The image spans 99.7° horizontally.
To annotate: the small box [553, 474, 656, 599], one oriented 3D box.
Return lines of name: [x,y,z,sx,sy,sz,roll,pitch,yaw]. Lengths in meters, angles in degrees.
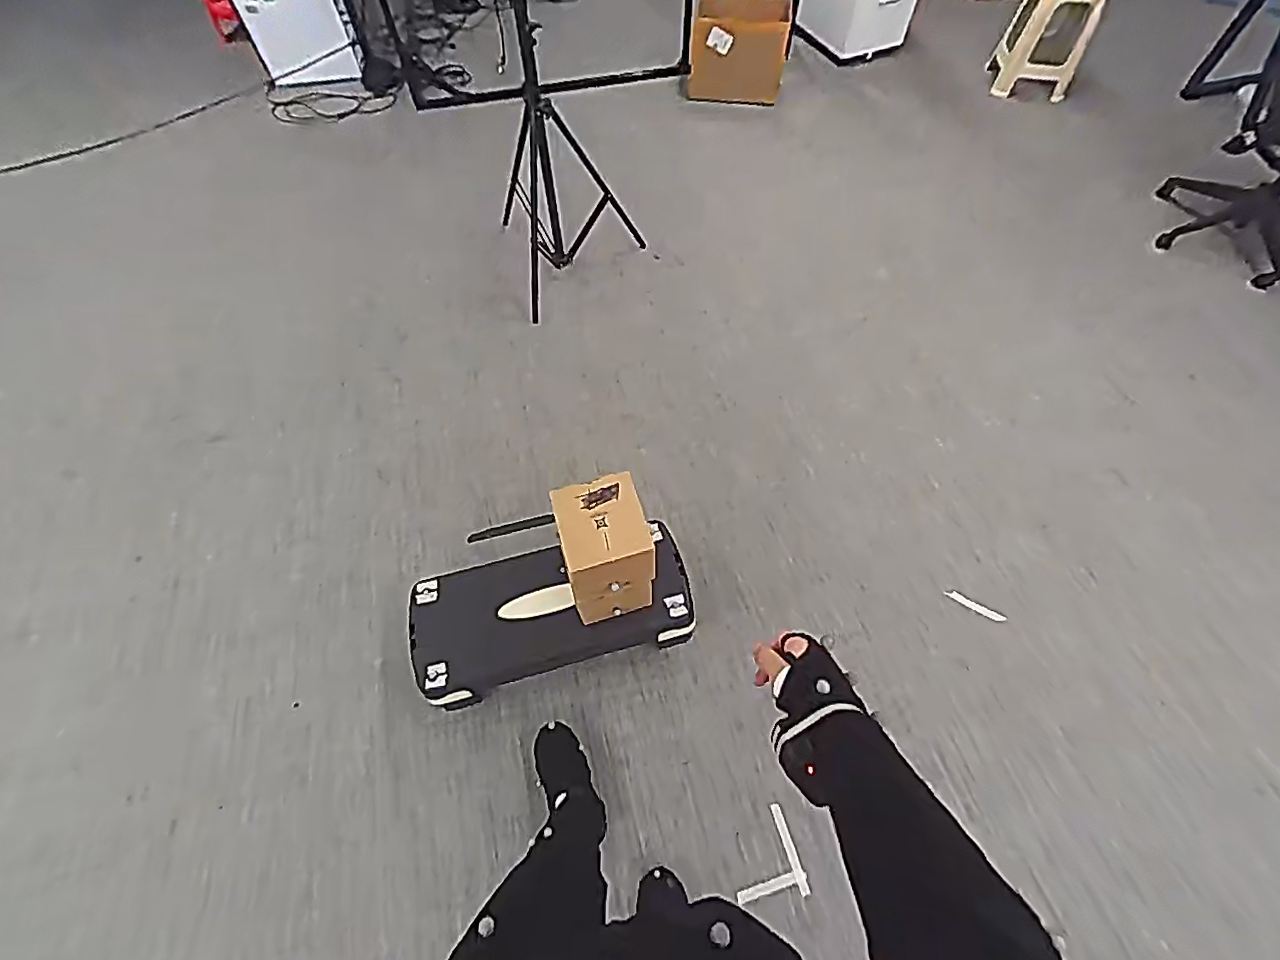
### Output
small box: [-0.072,0.118,1.101,0.168,0.176,0.179,-16,62,-7]

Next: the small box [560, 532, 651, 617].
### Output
small box: [-0.078,0.205,1.241,0.168,0.176,0.179,-15,62,-7]
